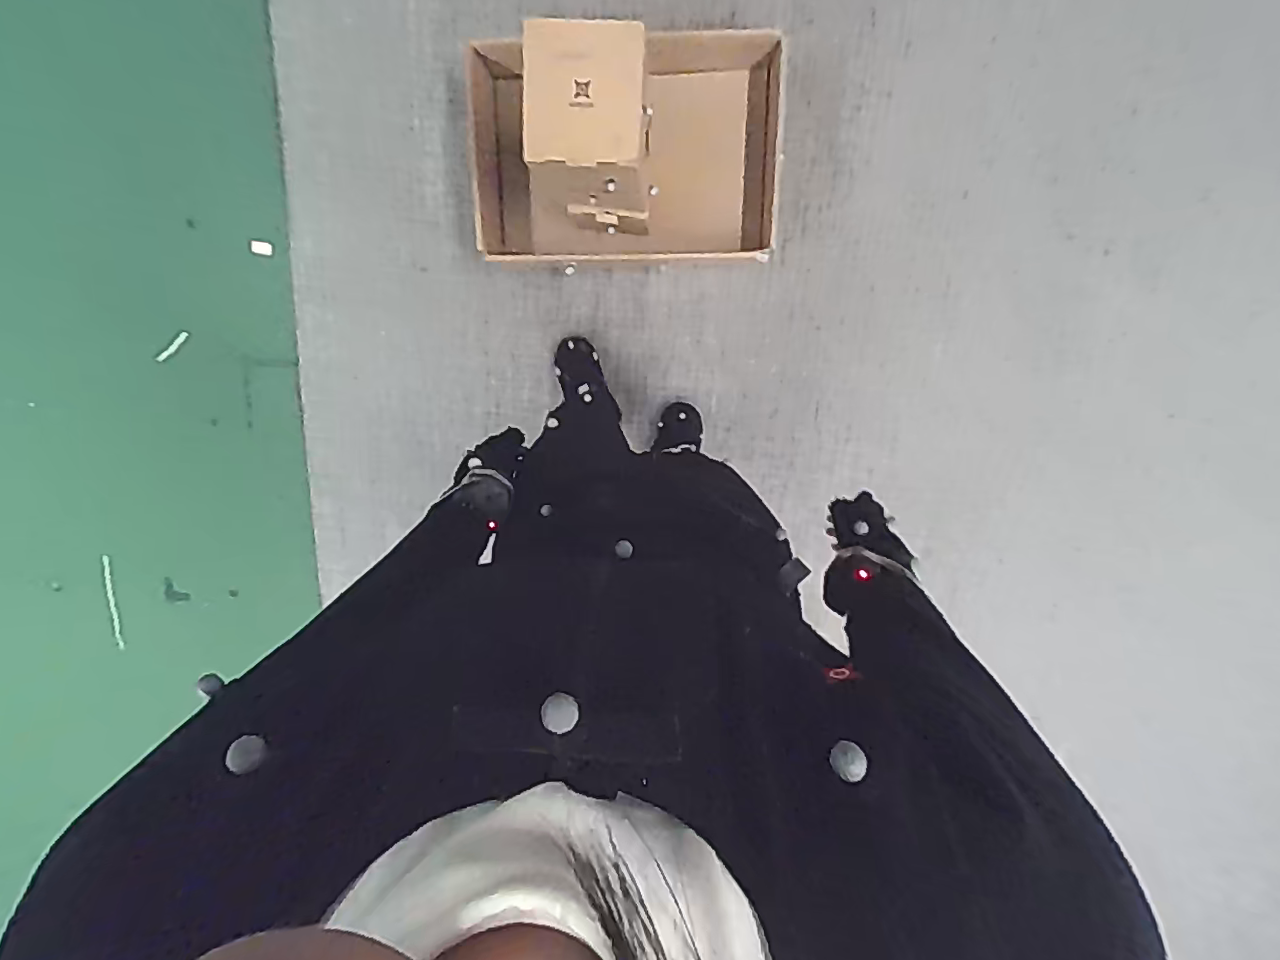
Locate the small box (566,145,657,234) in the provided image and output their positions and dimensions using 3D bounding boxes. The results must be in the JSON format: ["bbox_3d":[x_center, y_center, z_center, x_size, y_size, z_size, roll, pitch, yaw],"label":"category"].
[{"bbox_3d":[-0.054,-0.629,1.137,0.168,0.176,0.179,7,105,1],"label":"small box"}]

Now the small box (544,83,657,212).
[{"bbox_3d":[-0.067,-0.599,0.976,0.179,0.176,0.168,10,104,2],"label":"small box"}]

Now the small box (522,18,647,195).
[{"bbox_3d":[-0.077,-0.550,0.821,0.168,0.176,0.179,4,103,2],"label":"small box"}]
